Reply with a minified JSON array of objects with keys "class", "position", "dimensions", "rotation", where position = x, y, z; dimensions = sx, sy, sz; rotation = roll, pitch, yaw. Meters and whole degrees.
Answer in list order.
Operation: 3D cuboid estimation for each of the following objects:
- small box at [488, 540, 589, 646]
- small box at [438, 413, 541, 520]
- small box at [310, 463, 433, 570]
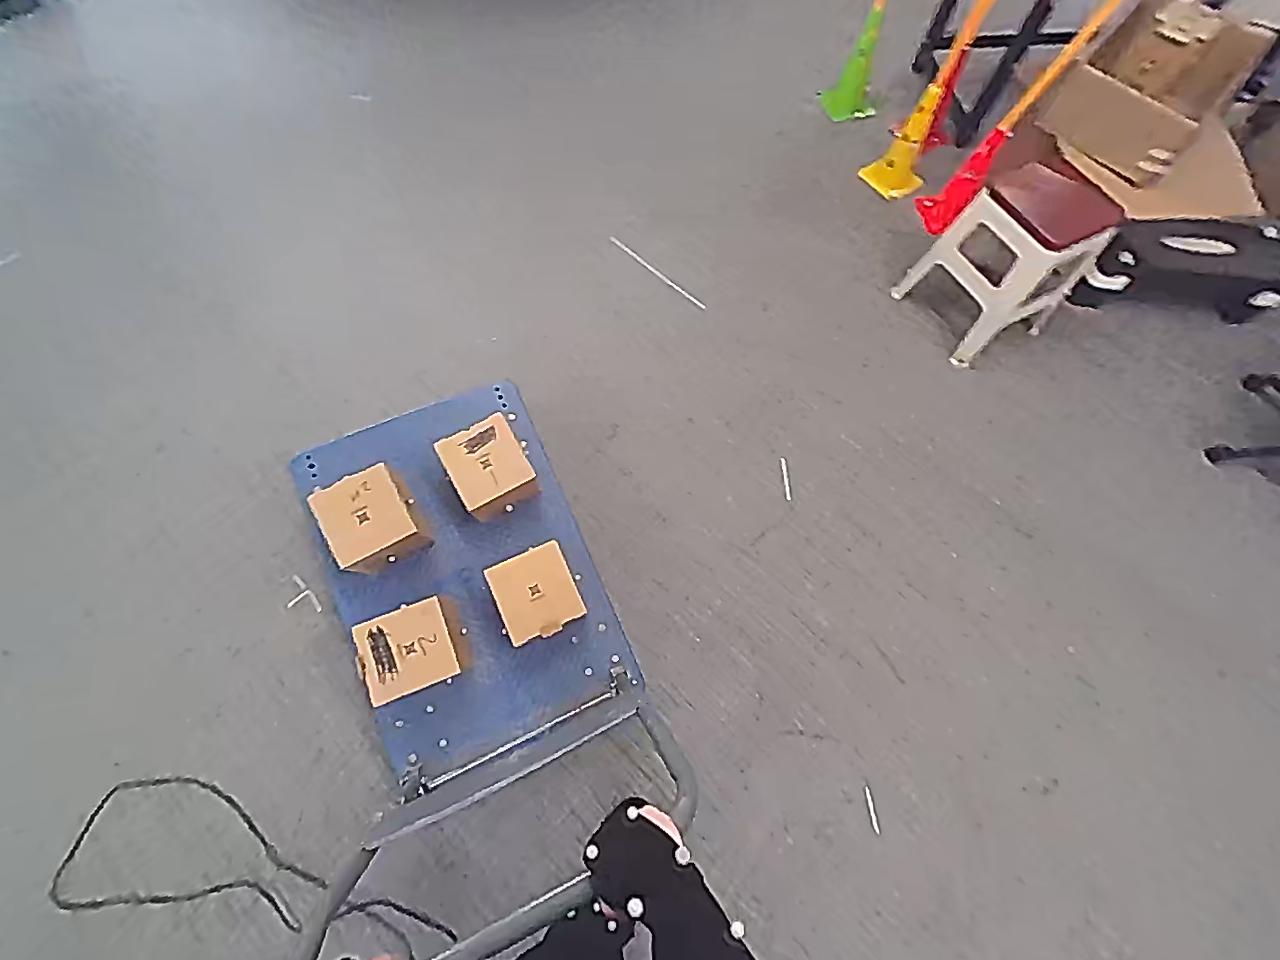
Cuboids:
[{"class":"small box","position":[-0.226,0.255,1.213],"dimensions":[0.168,0.176,0.179],"rotation":[-23,81,-12]},{"class":"small box","position":[-0.345,-0.024,1.265],"dimensions":[0.168,0.176,0.179],"rotation":[-28,82,-12]},{"class":"small box","position":[-0.586,0.090,1.205],"dimensions":[0.168,0.176,0.179],"rotation":[-27,81,-14]}]
